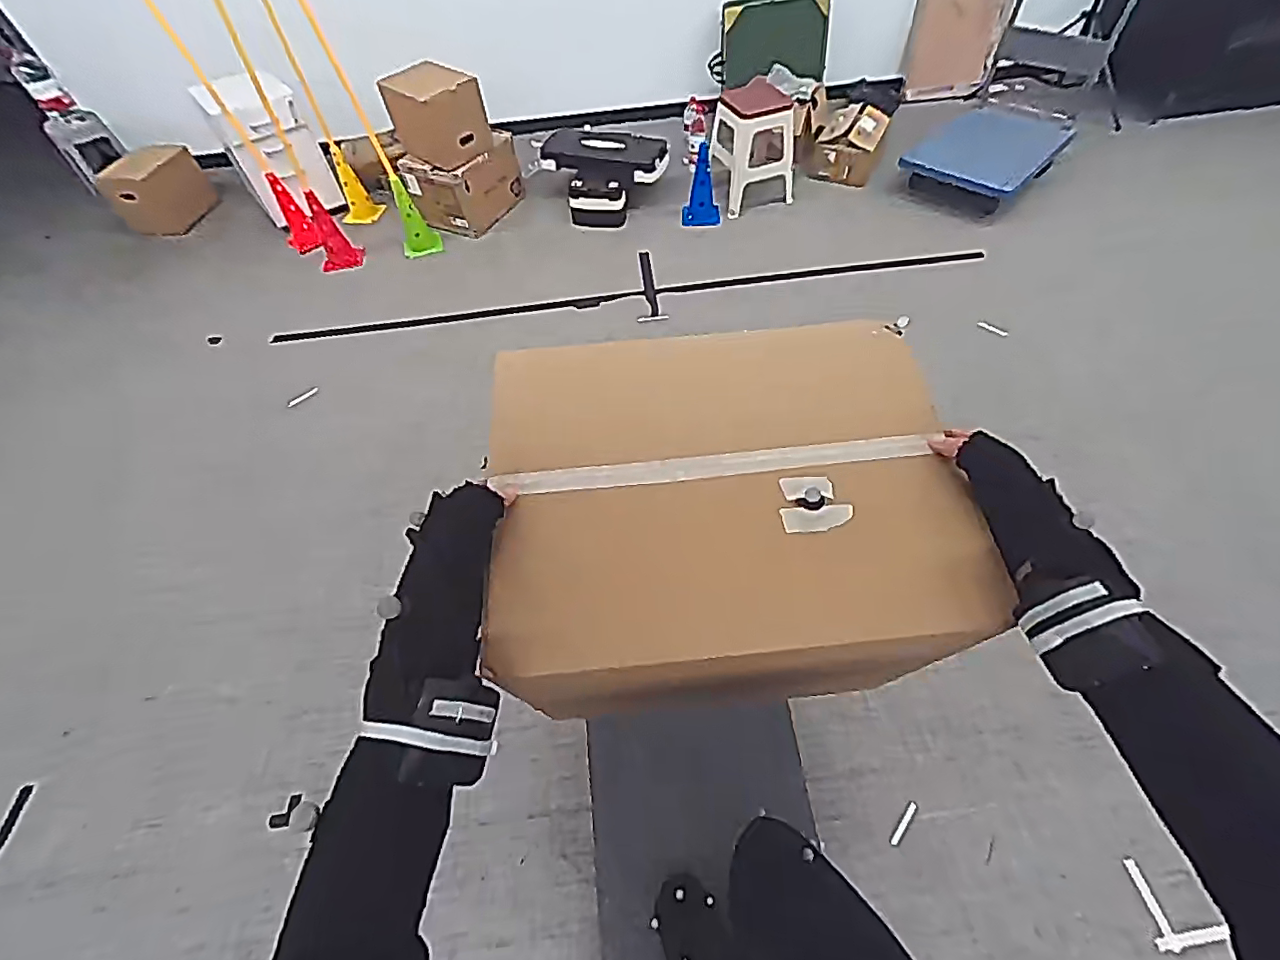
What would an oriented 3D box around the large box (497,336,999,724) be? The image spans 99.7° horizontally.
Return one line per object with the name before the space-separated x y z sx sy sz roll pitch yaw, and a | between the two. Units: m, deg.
large box | 0.072 0.073 0.617 0.408 0.320 0.320 -5 61 -2
